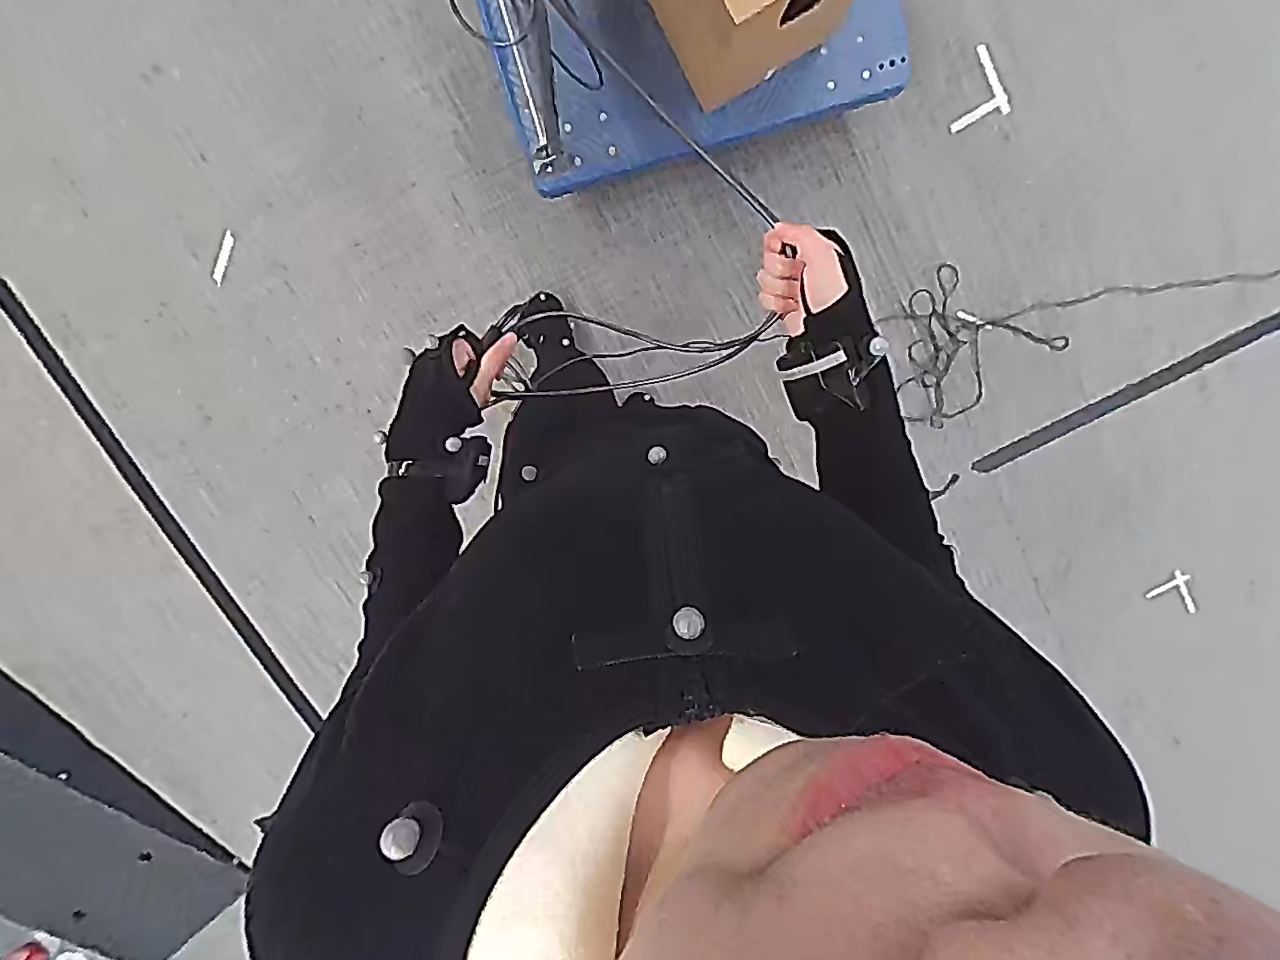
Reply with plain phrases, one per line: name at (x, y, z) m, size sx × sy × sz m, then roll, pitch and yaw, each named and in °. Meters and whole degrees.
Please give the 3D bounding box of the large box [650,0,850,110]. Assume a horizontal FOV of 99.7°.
large box at (0.180, -1.012, 0.984) m, size 0.320 × 0.320 × 0.408 m, roll -31°, pitch 101°, yaw 4°
